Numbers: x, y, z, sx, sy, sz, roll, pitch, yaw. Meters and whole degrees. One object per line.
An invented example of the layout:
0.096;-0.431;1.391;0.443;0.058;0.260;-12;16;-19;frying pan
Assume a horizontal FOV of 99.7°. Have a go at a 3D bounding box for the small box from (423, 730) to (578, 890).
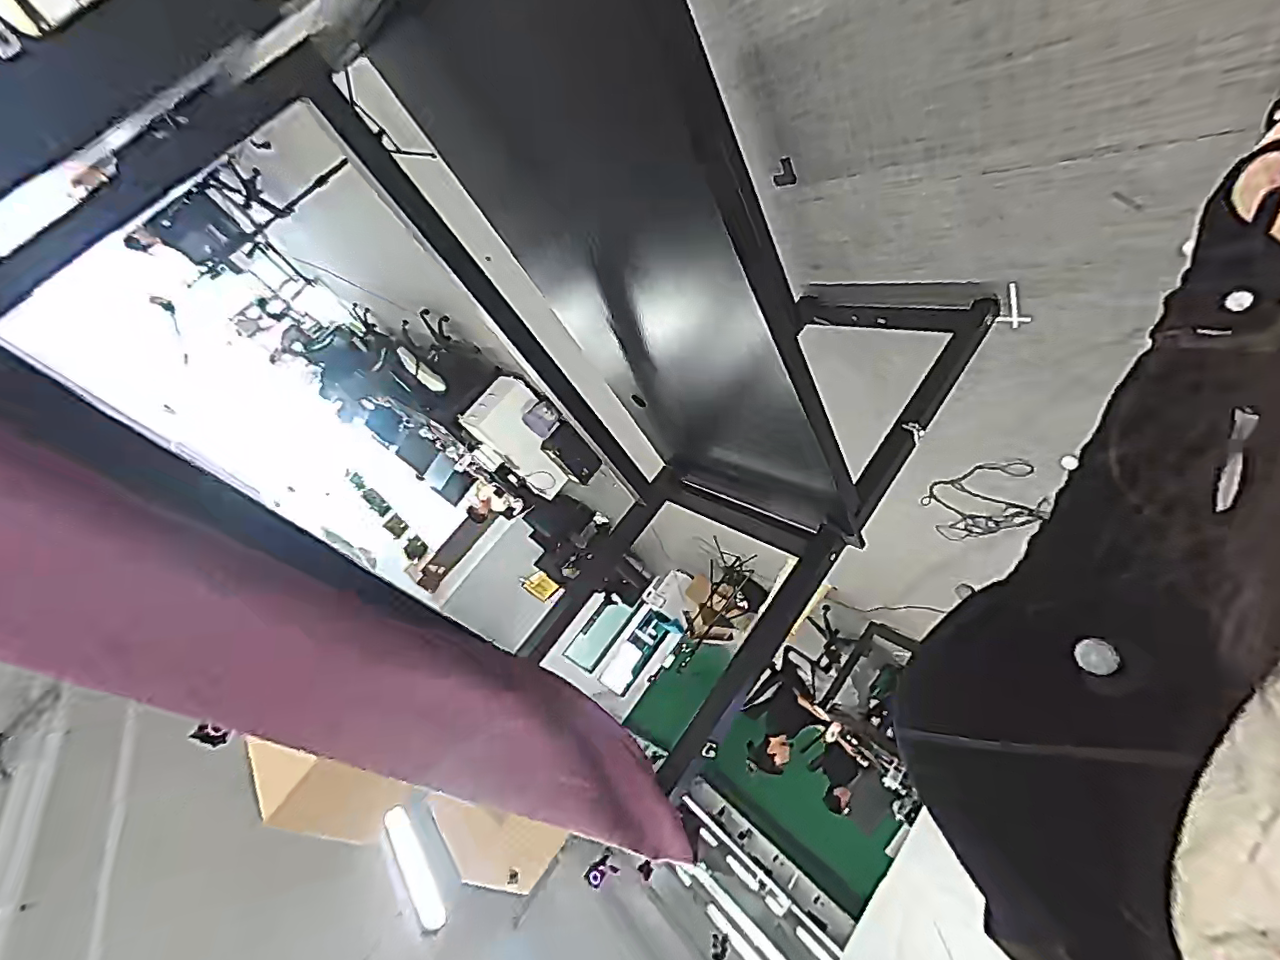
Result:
-0.243;0.571;0.958;0.179;0.176;0.168;24;160;48;small box
